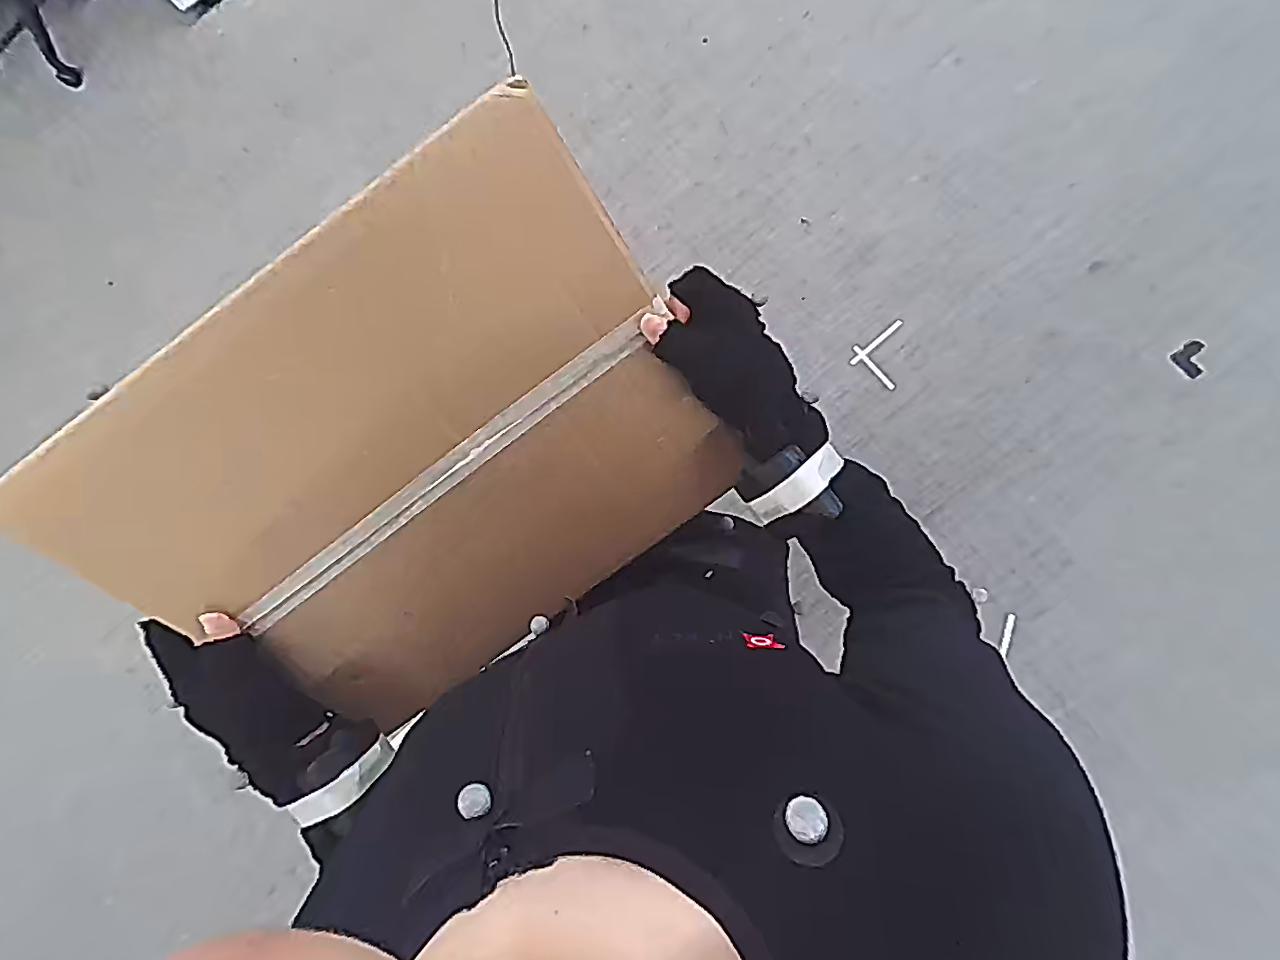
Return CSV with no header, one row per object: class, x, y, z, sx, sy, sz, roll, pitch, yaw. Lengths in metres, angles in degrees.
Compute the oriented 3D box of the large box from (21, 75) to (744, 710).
large box,-0.186,-0.076,0.523,0.408,0.320,0.320,-36,121,4
